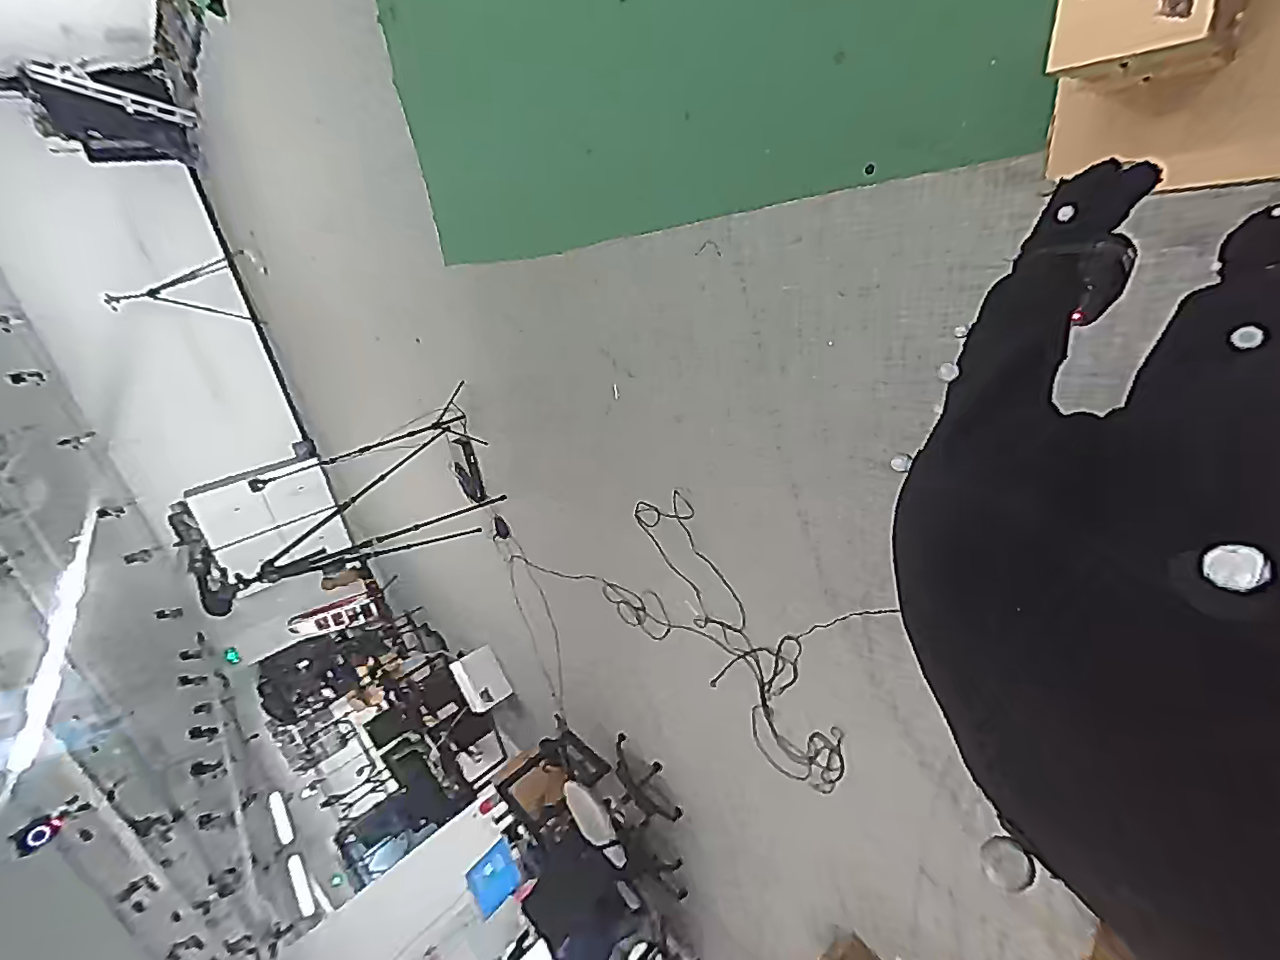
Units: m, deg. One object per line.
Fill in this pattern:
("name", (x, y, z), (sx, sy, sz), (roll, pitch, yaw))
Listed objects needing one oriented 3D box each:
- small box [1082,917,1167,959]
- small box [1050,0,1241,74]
("small box", (1.394, 1.426, 1.556), (0.168, 0.176, 0.179), (22, 128, 43))
("small box", (0.717, -0.686, 0.751), (0.179, 0.176, 0.168), (24, 129, 45))
